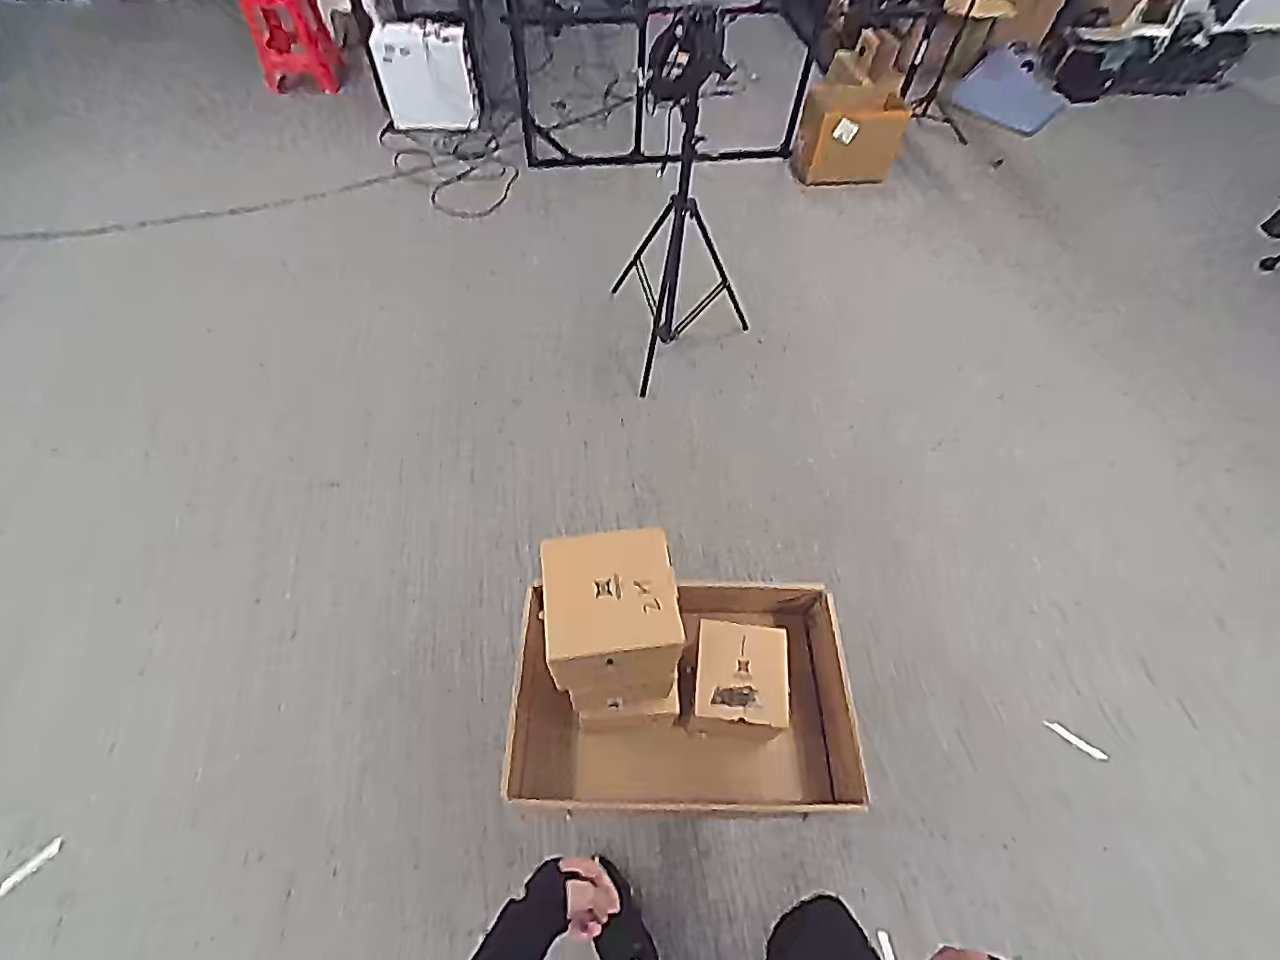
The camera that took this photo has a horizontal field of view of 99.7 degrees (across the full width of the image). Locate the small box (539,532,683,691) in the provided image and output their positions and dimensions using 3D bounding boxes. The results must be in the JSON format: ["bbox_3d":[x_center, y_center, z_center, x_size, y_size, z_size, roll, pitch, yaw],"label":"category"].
[{"bbox_3d":[-0.044,0.192,0.772,0.179,0.176,0.168,-5,58,-6],"label":"small box"}]

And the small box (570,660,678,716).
[{"bbox_3d":[-0.039,0.280,0.910,0.168,0.176,0.179,-6,57,-7],"label":"small box"}]
